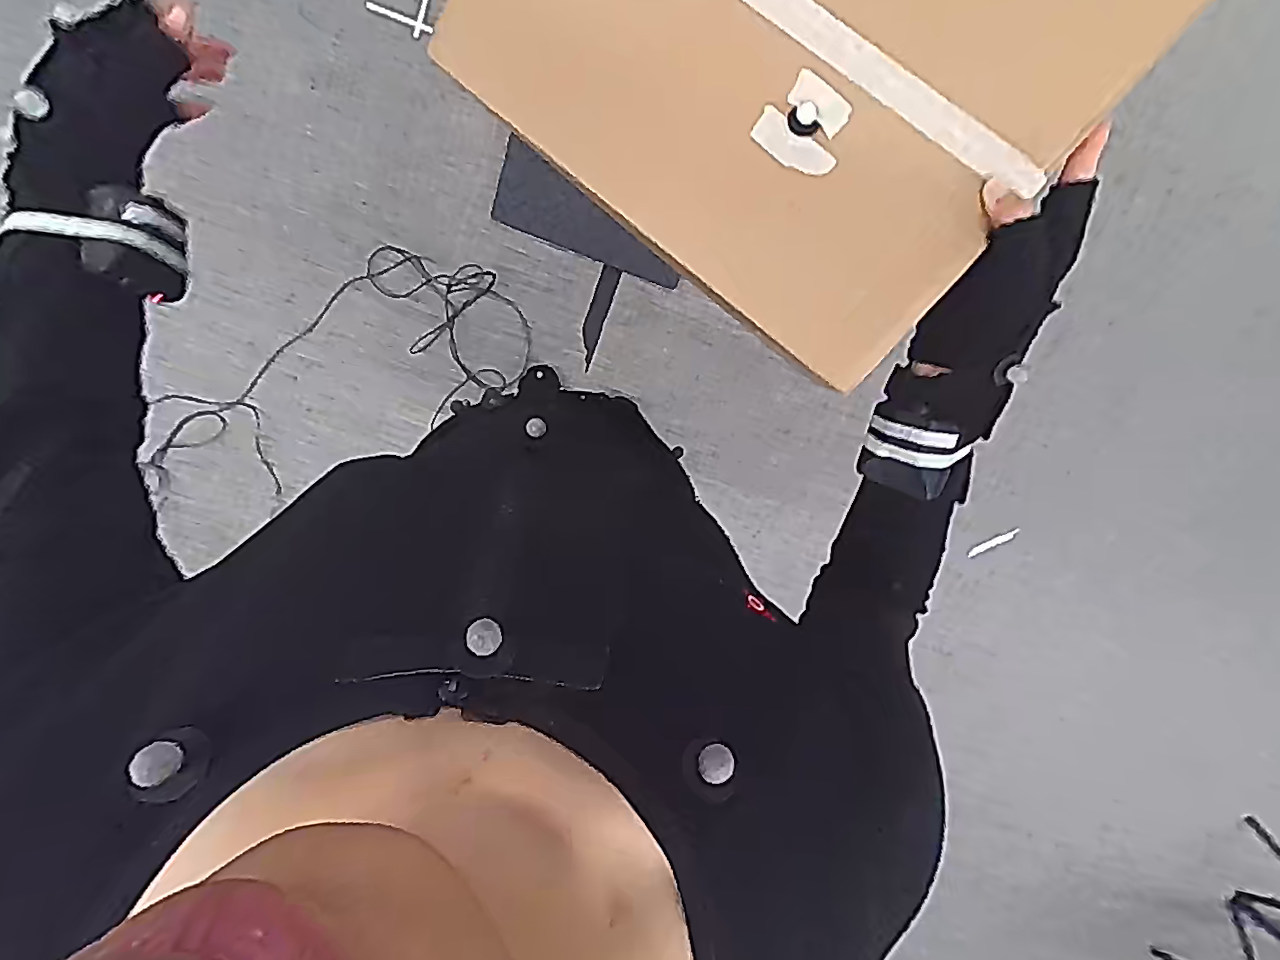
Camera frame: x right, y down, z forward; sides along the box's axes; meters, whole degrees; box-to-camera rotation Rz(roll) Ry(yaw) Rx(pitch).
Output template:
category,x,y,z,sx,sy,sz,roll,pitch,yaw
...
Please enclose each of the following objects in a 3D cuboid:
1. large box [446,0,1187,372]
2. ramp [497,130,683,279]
category,x,y,z,sx,sy,sz,roll,pitch,yaw
large box,0.124,-0.342,0.497,0.408,0.320,0.320,40,109,4
ramp,0.040,-1.024,1.199,0.509,0.206,0.991,16,100,-8
